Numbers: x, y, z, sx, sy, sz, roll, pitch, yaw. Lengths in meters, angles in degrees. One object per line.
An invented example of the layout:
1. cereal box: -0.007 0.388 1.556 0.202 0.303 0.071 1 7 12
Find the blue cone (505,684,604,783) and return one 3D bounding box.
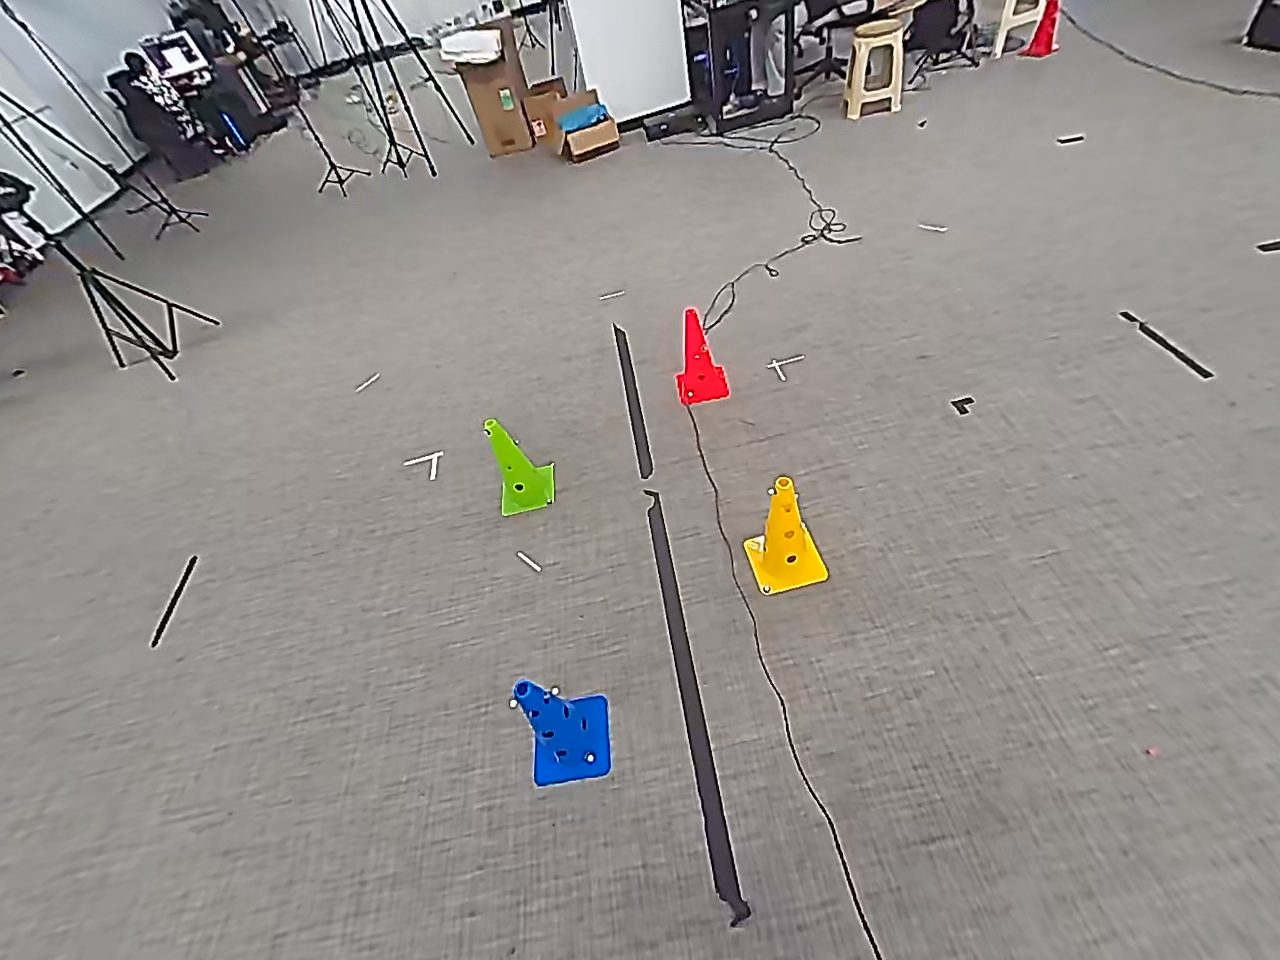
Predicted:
1. blue cone: -0.222 0.567 1.284 0.192 0.380 0.193 -11 47 7

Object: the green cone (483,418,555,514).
1. green cone: -0.452 -0.080 1.896 0.202 0.368 0.200 -14 47 4

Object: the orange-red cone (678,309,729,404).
1. orange-red cone: 0.224 -0.495 2.080 0.199 0.360 0.198 -9 49 6
